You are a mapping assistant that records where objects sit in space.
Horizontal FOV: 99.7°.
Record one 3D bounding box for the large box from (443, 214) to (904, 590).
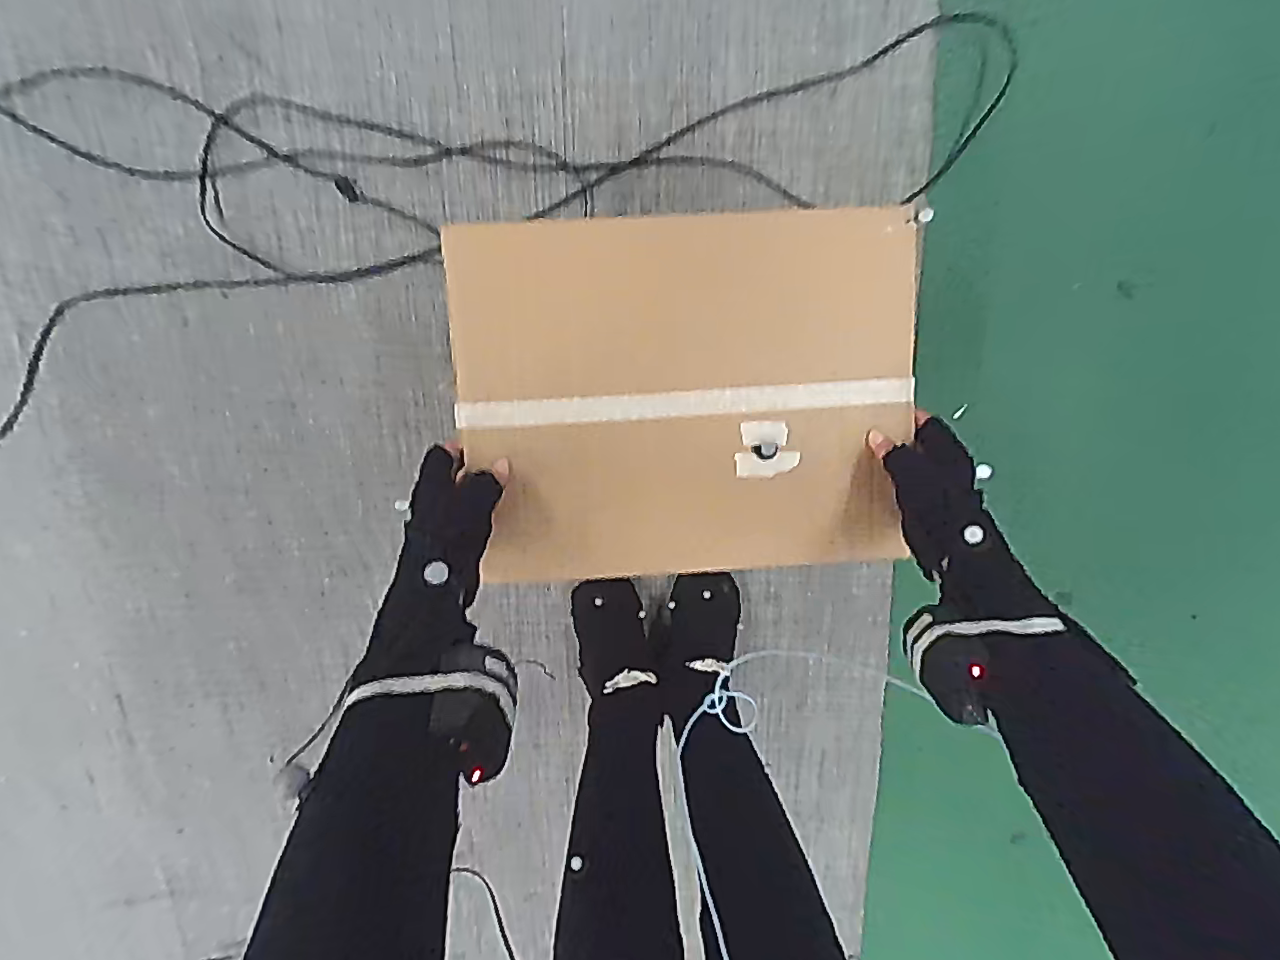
[{"bbox_3d":[0.032,-0.084,0.631,0.408,0.320,0.320,-4,99,-2],"label":"large box"}]
